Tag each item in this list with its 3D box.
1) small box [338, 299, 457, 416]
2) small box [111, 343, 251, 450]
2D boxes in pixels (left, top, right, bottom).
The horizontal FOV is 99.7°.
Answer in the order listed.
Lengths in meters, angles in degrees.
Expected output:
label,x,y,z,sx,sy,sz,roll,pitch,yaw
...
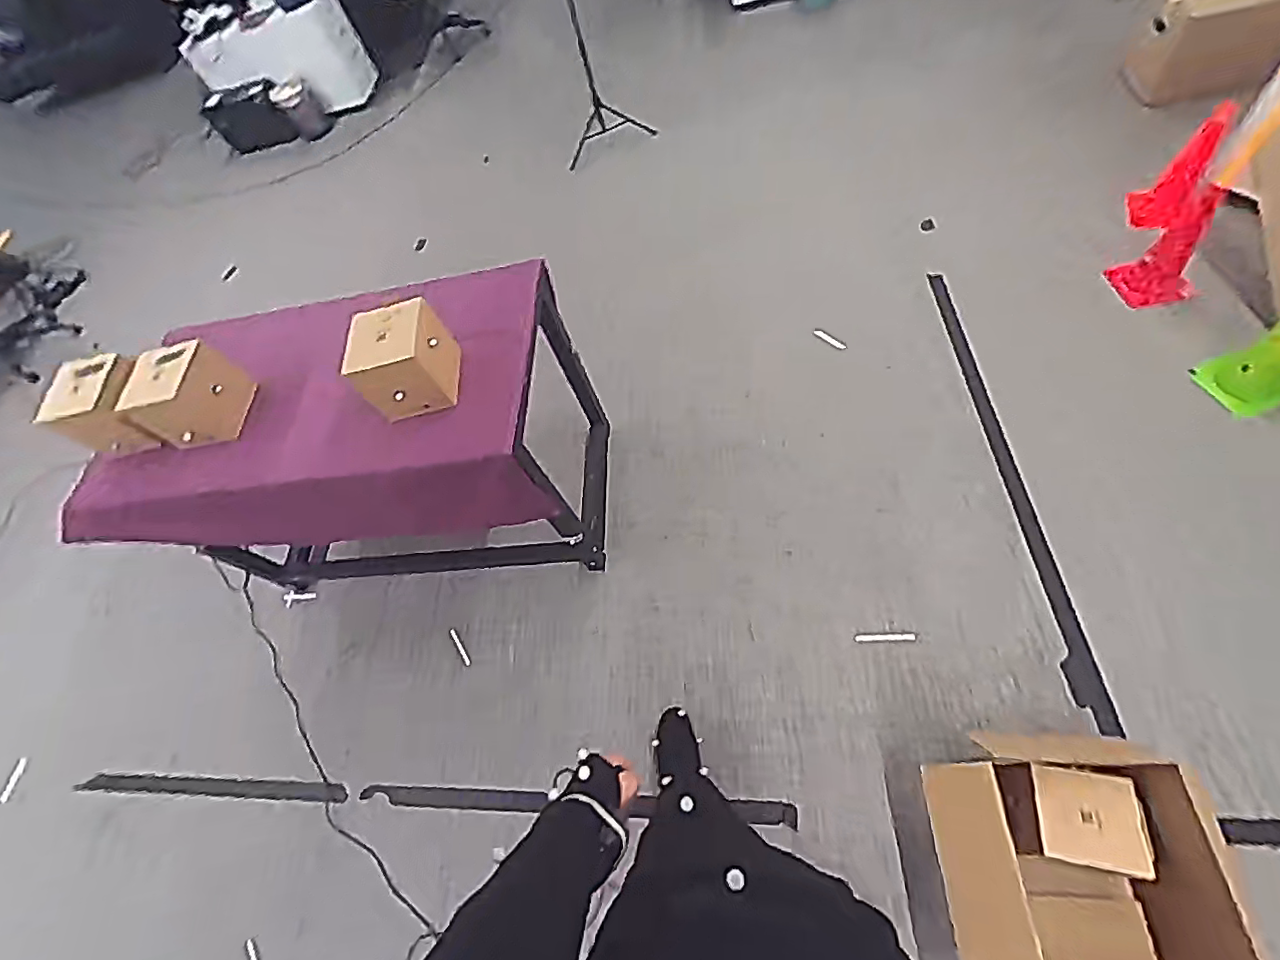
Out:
label,x,y,z,sx,sy,sz,roll,pitch,yaw
small box,-0.522,-0.258,1.190,0.168,0.176,0.179,-12,58,8
small box,-1.089,-0.197,1.302,0.168,0.176,0.179,-9,60,9
